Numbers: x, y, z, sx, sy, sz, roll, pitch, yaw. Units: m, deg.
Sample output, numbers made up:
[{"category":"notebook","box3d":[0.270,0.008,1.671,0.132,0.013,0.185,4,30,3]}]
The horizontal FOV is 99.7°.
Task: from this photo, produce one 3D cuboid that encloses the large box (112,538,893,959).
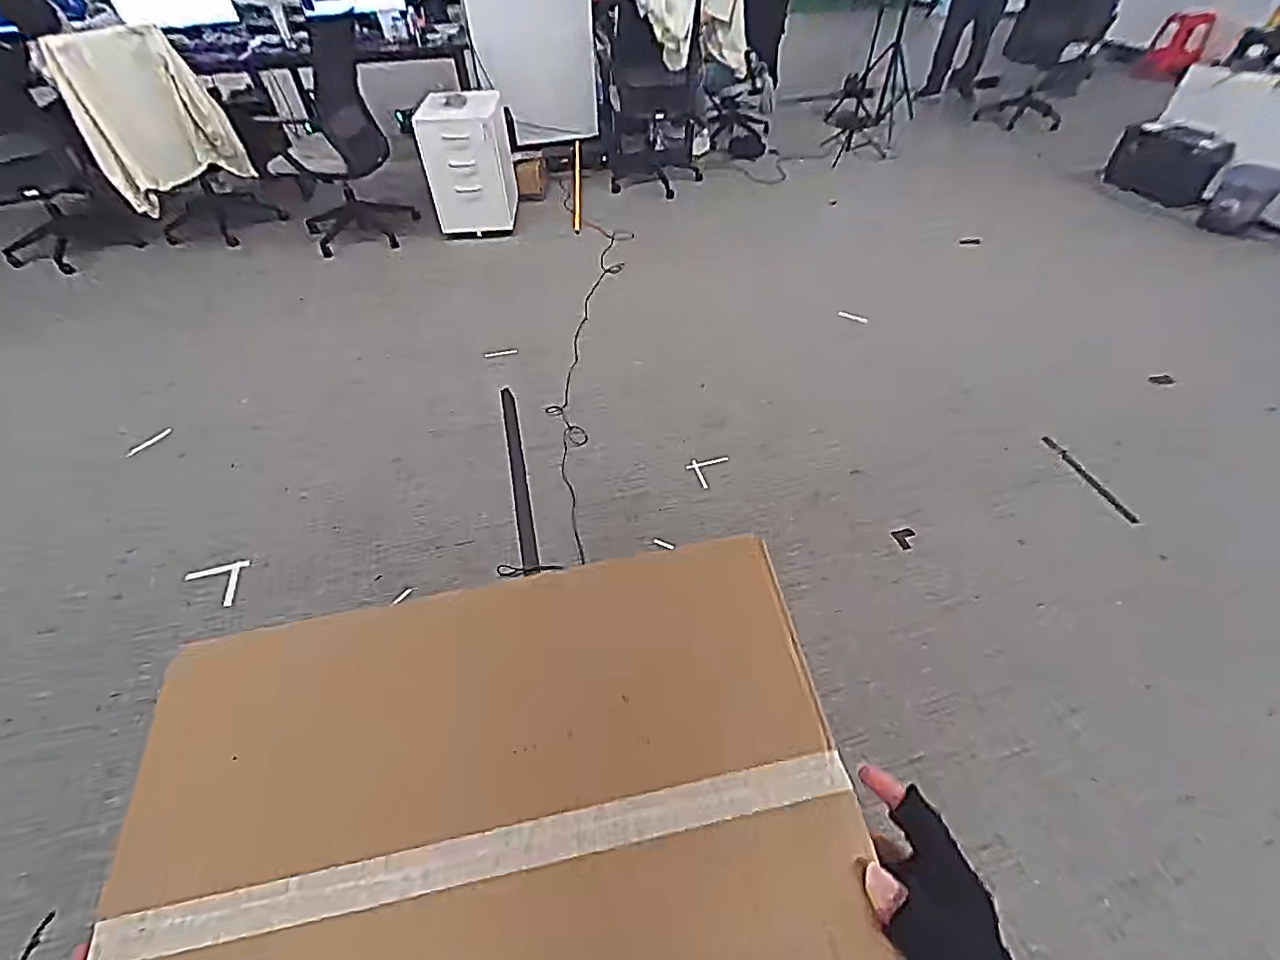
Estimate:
[{"category":"large box","box3d":[-0.077,0.284,0.432,0.408,0.320,0.320,-11,57,-4]}]
